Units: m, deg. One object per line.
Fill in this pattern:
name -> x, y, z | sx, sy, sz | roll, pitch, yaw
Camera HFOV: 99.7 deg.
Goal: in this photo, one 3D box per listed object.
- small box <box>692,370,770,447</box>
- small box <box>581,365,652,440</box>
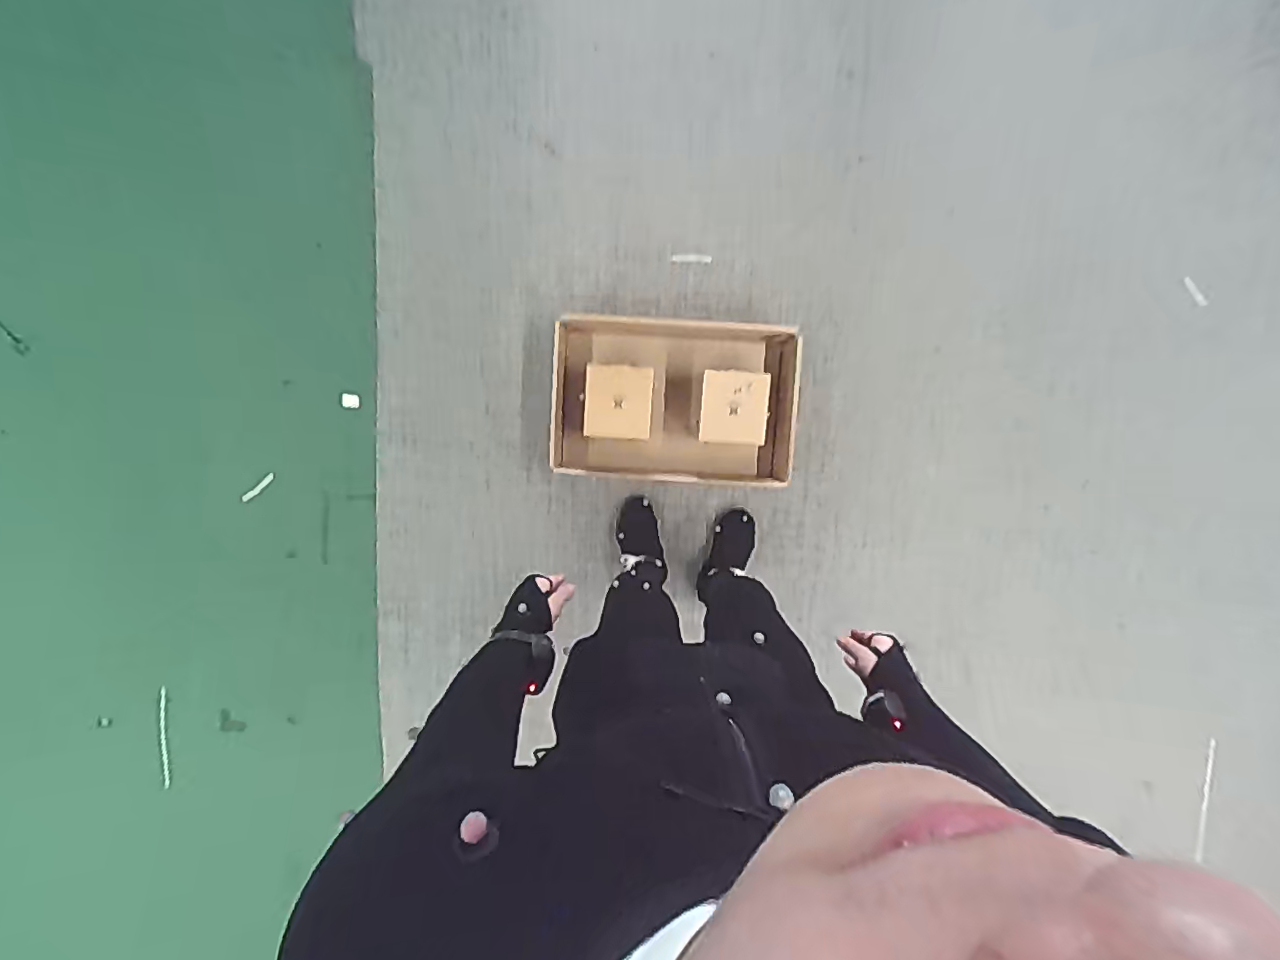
small box -> 0.228, -0.181, 1.397 | 0.168, 0.176, 0.179 | 5, 95, -1
small box -> -0.058, -0.195, 1.396 | 0.168, 0.176, 0.179 | 3, 94, -1
